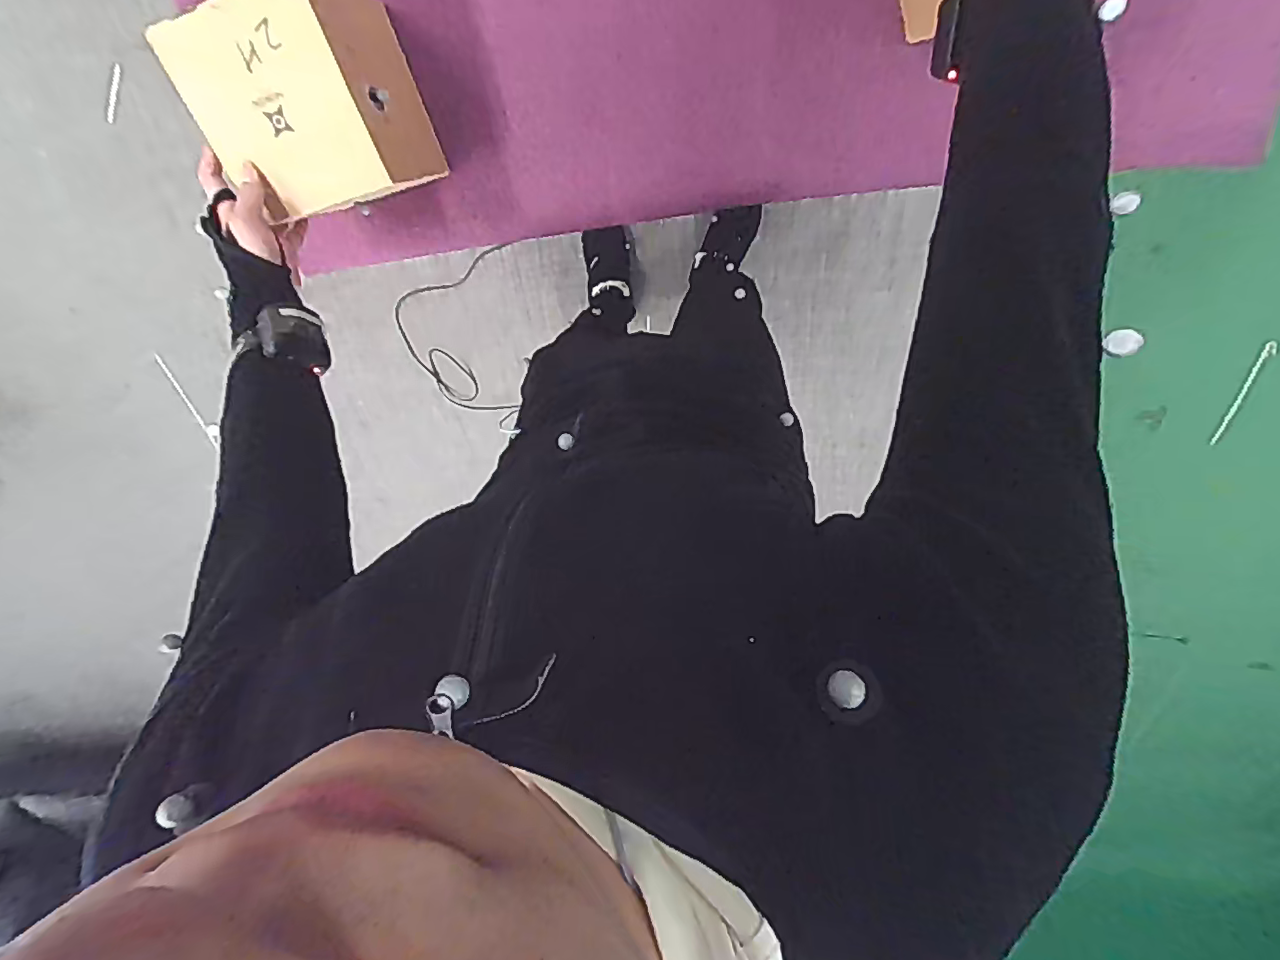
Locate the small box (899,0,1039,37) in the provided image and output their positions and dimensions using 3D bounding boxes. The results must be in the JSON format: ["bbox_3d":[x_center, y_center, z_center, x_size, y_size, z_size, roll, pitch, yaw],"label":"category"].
[{"bbox_3d":[0.321,-0.515,0.458,0.168,0.176,0.179,-21,120,17],"label":"small box"}]

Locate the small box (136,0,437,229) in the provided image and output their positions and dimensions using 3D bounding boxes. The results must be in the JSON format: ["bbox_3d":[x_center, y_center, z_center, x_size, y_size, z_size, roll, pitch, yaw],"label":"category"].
[{"bbox_3d":[-0.348,-0.393,0.579,0.168,0.176,0.179,-11,122,10],"label":"small box"}]
